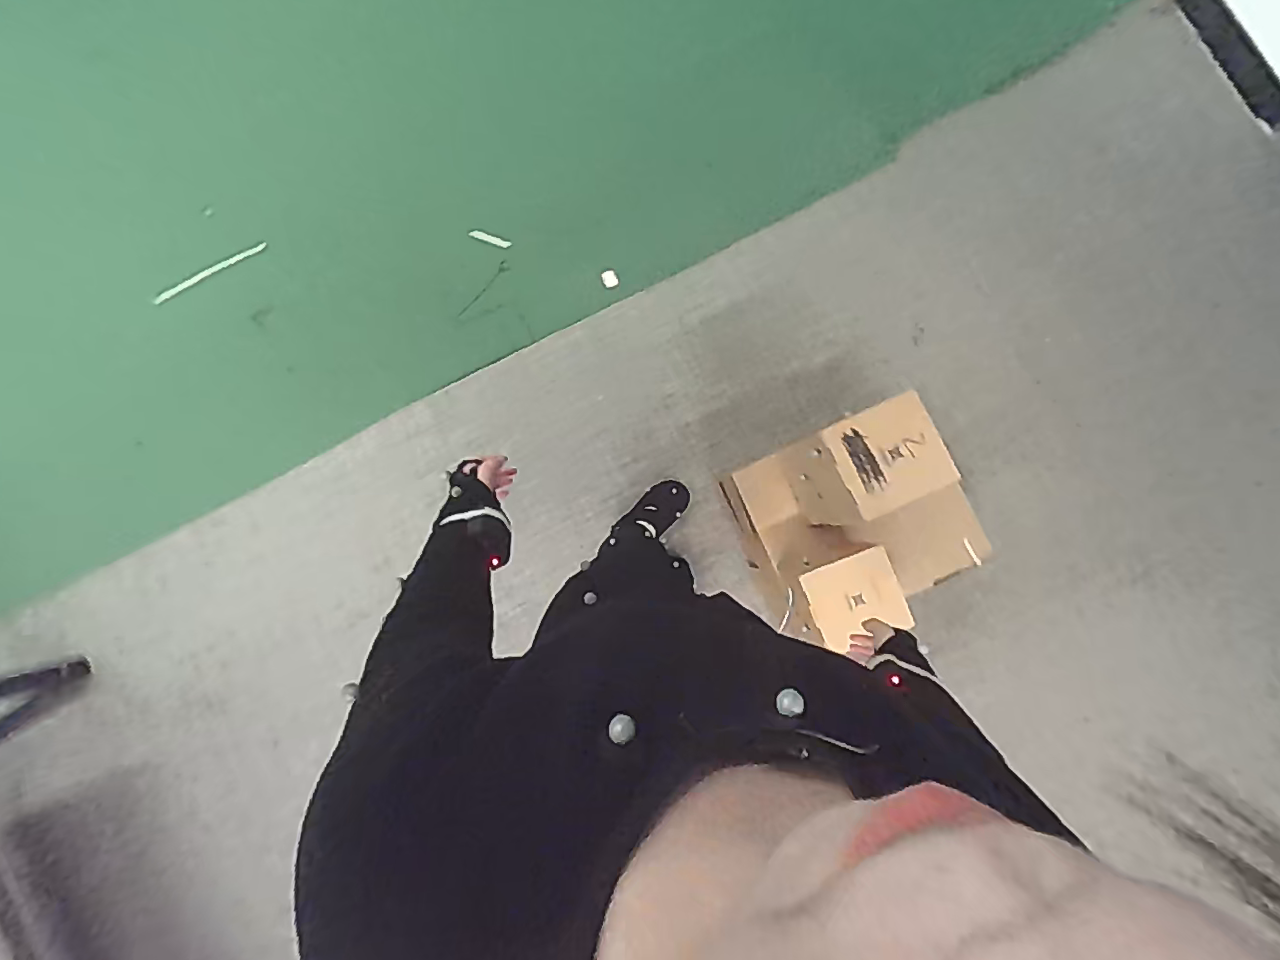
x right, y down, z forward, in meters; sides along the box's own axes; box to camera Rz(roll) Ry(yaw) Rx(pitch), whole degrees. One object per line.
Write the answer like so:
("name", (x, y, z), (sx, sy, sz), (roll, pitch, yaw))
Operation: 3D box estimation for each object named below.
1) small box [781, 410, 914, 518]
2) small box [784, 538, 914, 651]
("small box", (0.416, -0.026, 1.111), (0.179, 0.176, 0.168), (-20, 85, -2))
("small box", (0.406, 0.222, 1.092), (0.179, 0.176, 0.168), (-20, 87, -1))
